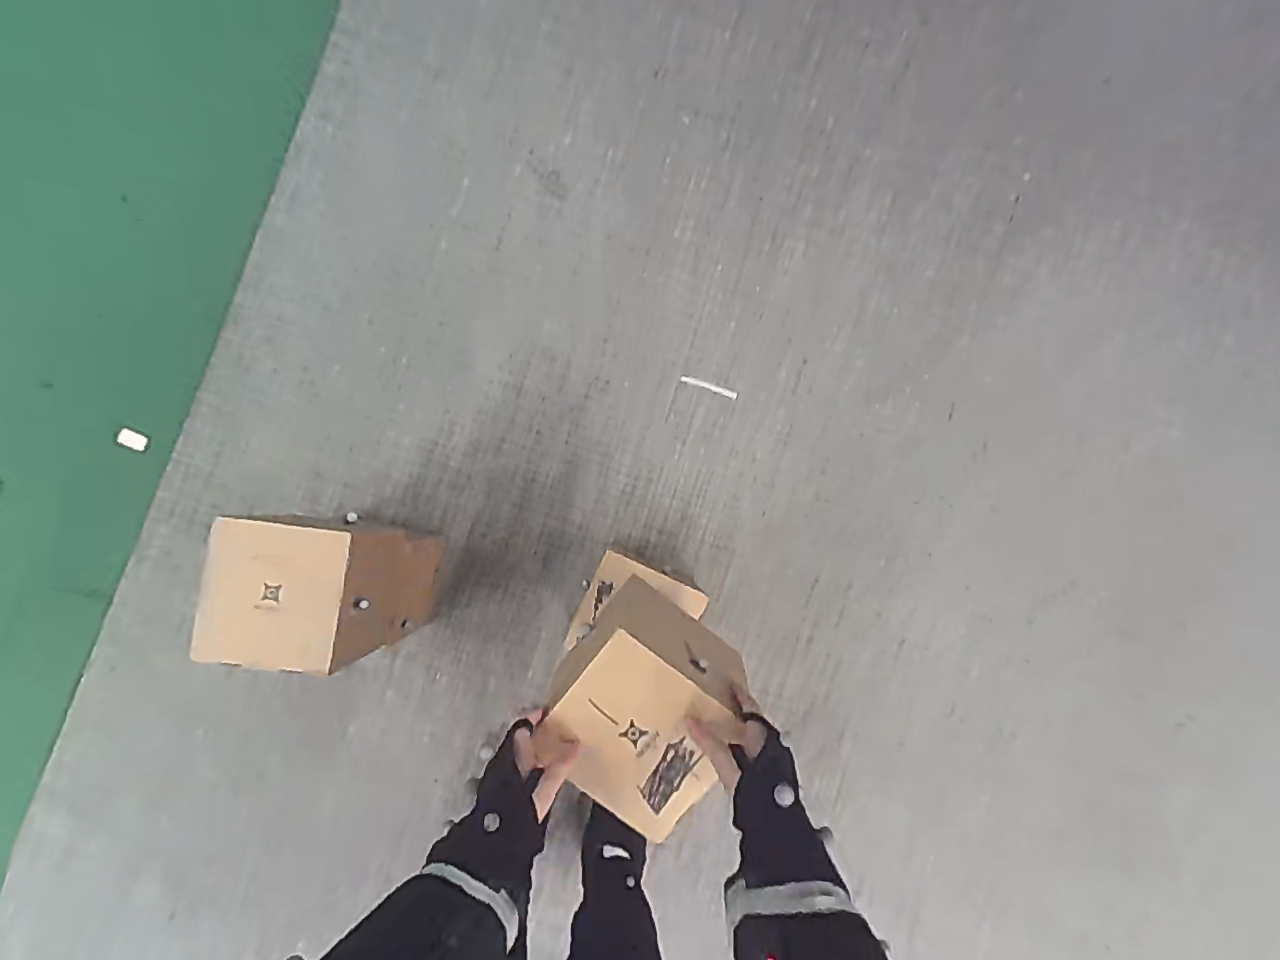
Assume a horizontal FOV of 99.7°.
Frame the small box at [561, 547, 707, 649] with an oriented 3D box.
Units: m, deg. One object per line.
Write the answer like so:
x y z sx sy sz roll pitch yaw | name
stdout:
-0.011 0.219 0.903 0.179 0.176 0.168 25 86 -1 | small box

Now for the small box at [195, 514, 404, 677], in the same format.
-0.441 0.144 0.730 0.168 0.176 0.179 8 86 -2 | small box

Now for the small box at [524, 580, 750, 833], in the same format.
0.002 0.243 0.625 0.179 0.176 0.168 37 99 -1 | small box
